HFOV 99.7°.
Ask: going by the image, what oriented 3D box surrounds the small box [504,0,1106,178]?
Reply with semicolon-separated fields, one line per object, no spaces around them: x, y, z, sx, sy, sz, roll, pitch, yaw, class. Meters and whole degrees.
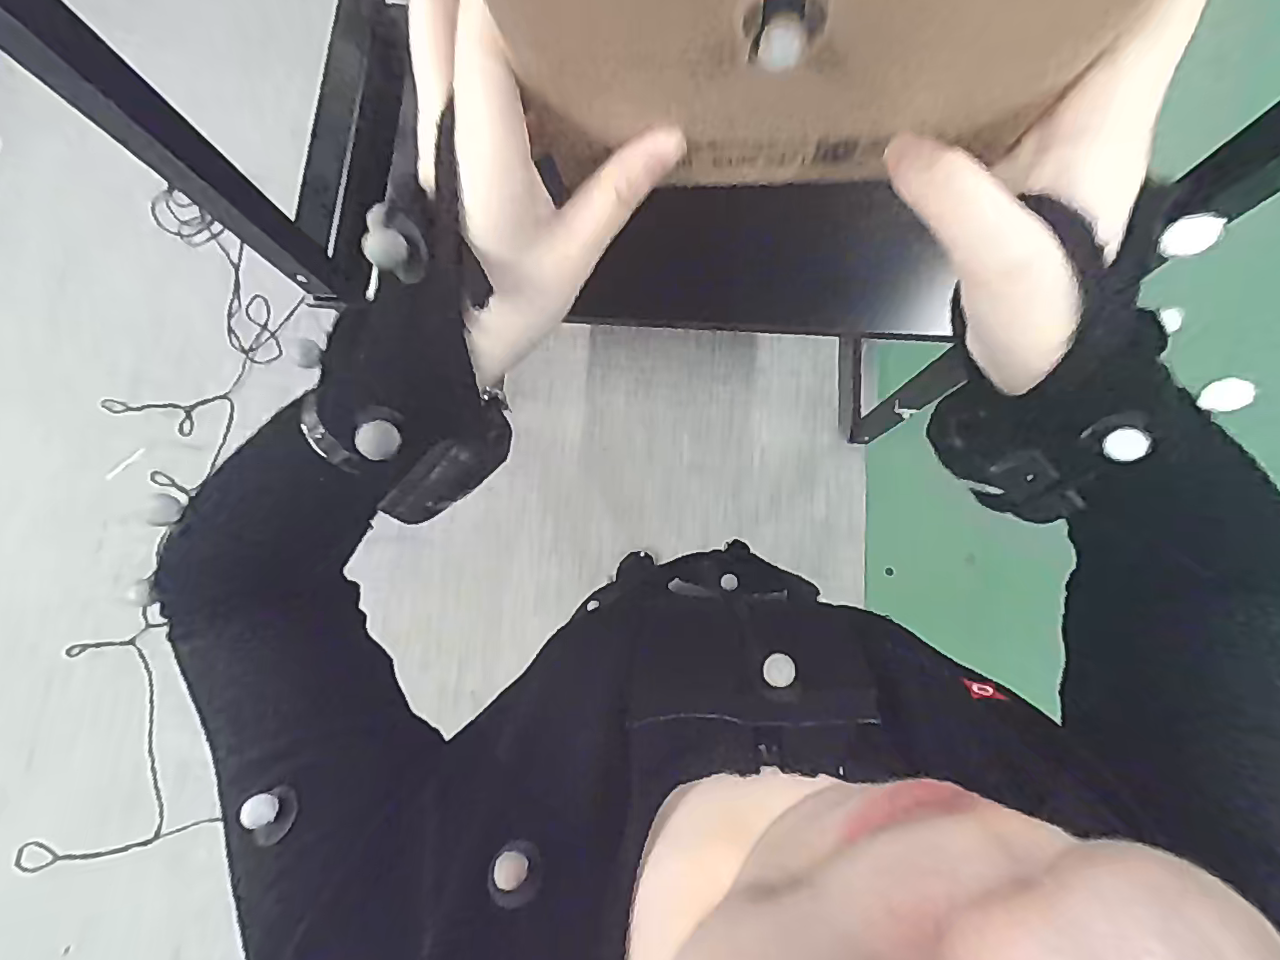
0.047;-0.206;0.146;0.168;0.176;0.179;2;91;5;small box
